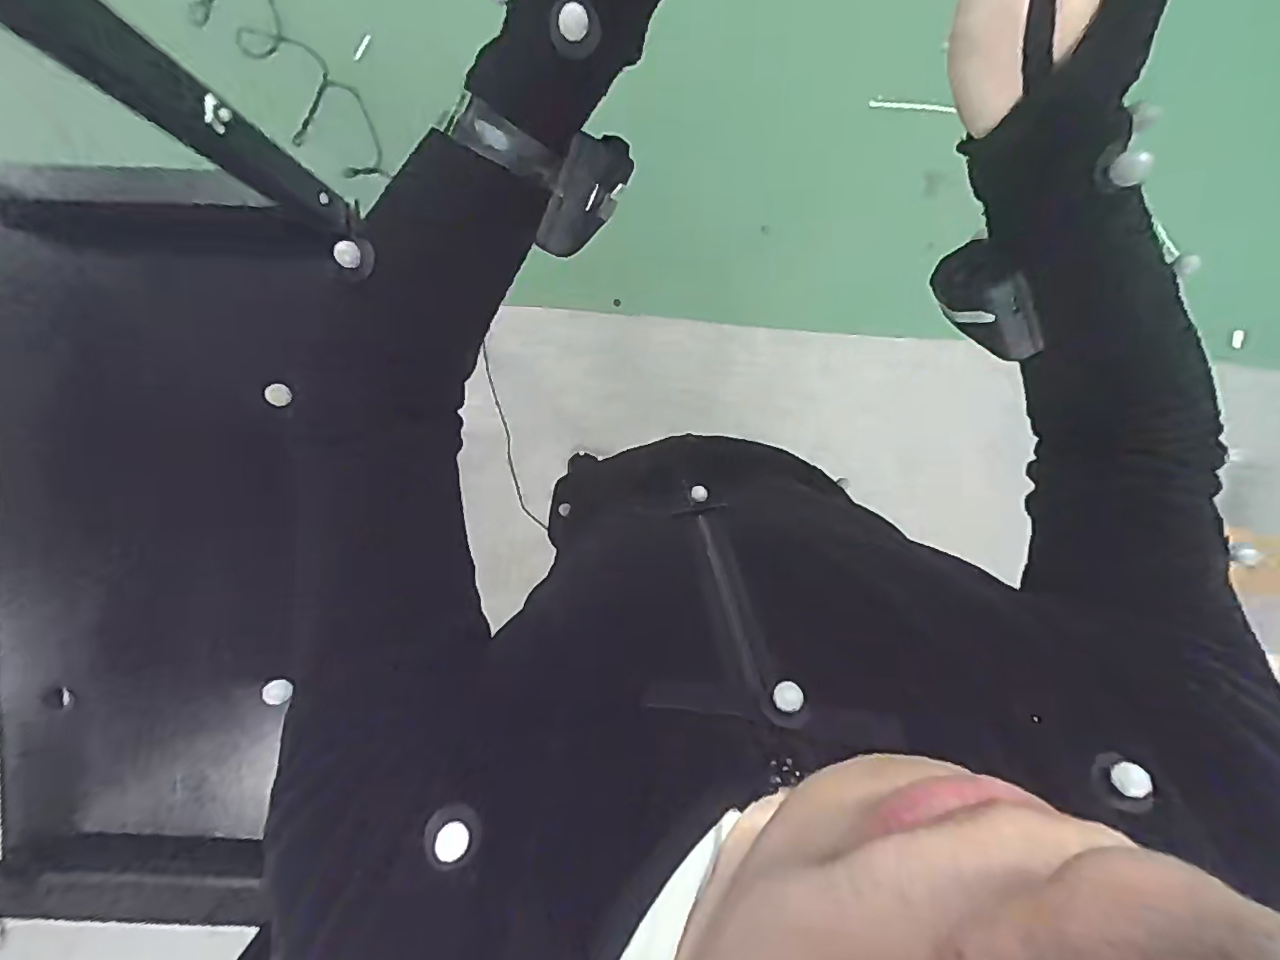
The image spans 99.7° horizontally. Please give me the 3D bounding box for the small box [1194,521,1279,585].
[{"bbox_3d":[1.778,0.217,1.563,0.179,0.176,0.168,8,94,-2],"label":"small box"}]

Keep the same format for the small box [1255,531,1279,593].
[{"bbox_3d":[1.779,0.233,1.399,0.179,0.176,0.168,10,95,-2],"label":"small box"}]
